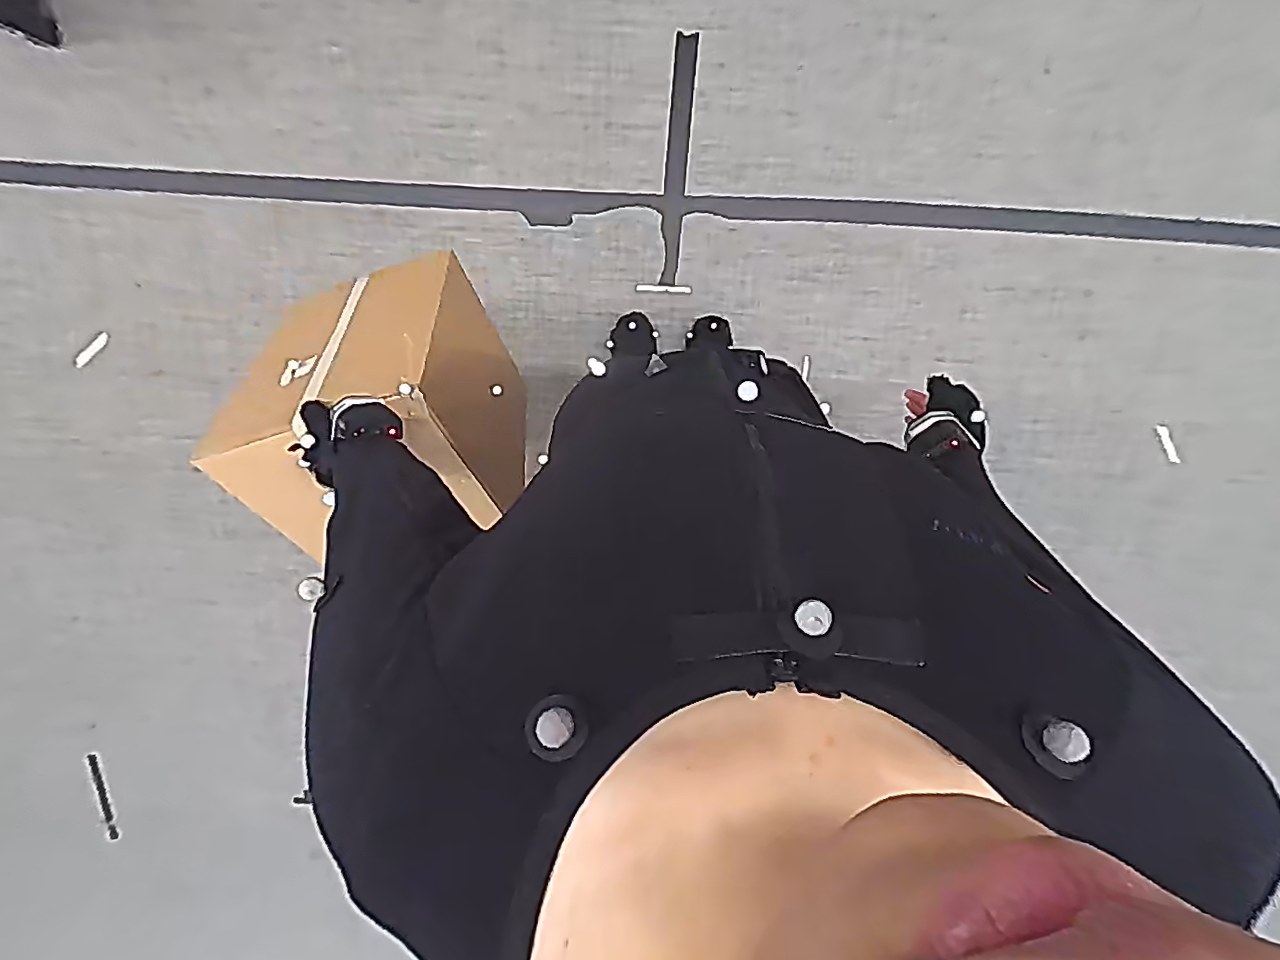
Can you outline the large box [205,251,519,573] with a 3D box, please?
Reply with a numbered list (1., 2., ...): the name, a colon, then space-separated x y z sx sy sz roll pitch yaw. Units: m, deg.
1. large box: -0.408 -0.117 0.920 0.320 0.408 0.320 -17 138 6
